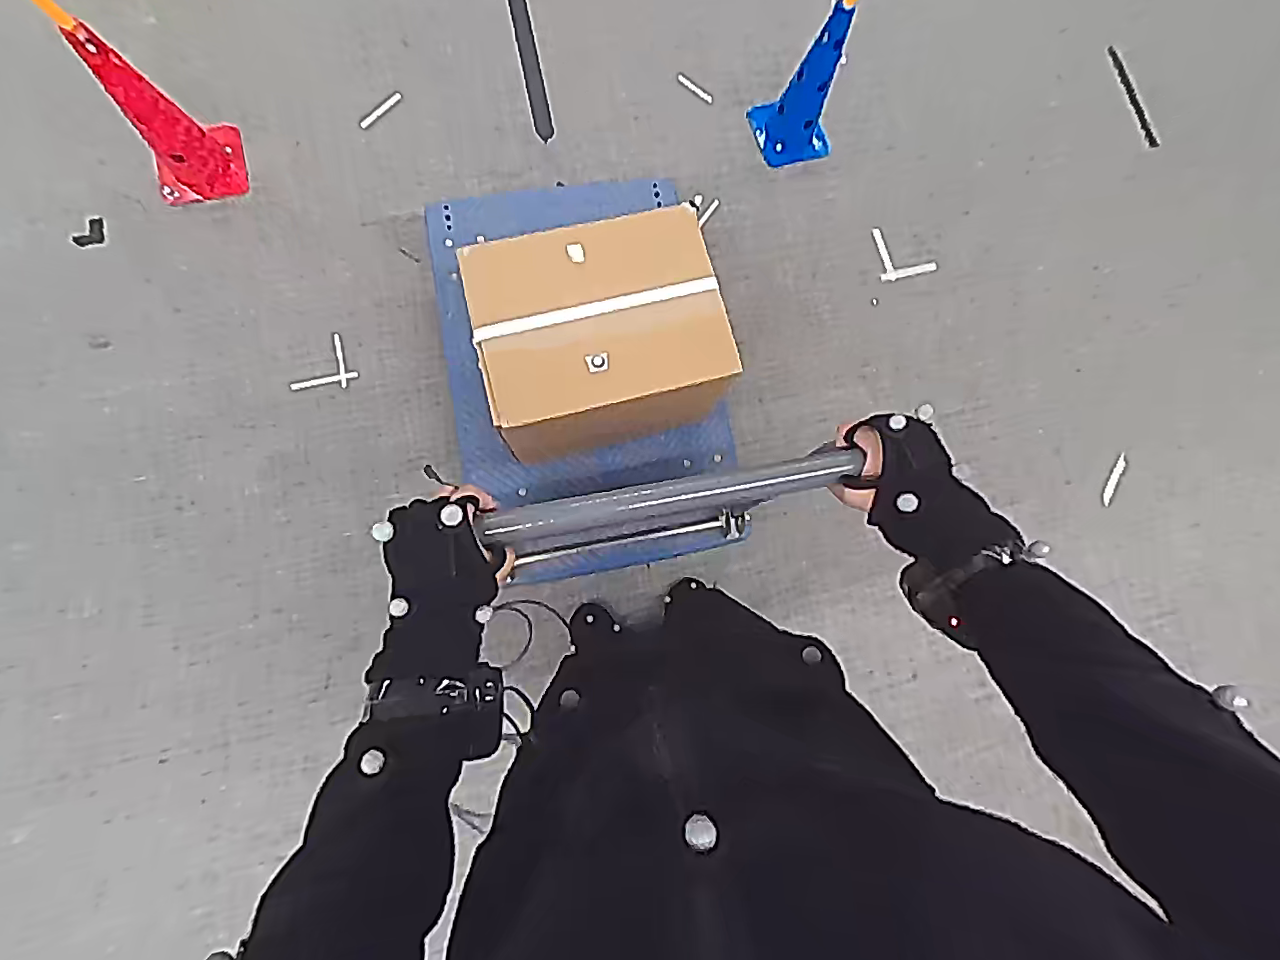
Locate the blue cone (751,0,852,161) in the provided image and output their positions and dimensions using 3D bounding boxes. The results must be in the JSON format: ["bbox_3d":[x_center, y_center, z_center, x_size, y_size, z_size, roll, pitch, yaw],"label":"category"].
[{"bbox_3d":[0.441,-1.029,1.378,0.193,0.380,0.192,-16,81,-9],"label":"blue cone"}]
